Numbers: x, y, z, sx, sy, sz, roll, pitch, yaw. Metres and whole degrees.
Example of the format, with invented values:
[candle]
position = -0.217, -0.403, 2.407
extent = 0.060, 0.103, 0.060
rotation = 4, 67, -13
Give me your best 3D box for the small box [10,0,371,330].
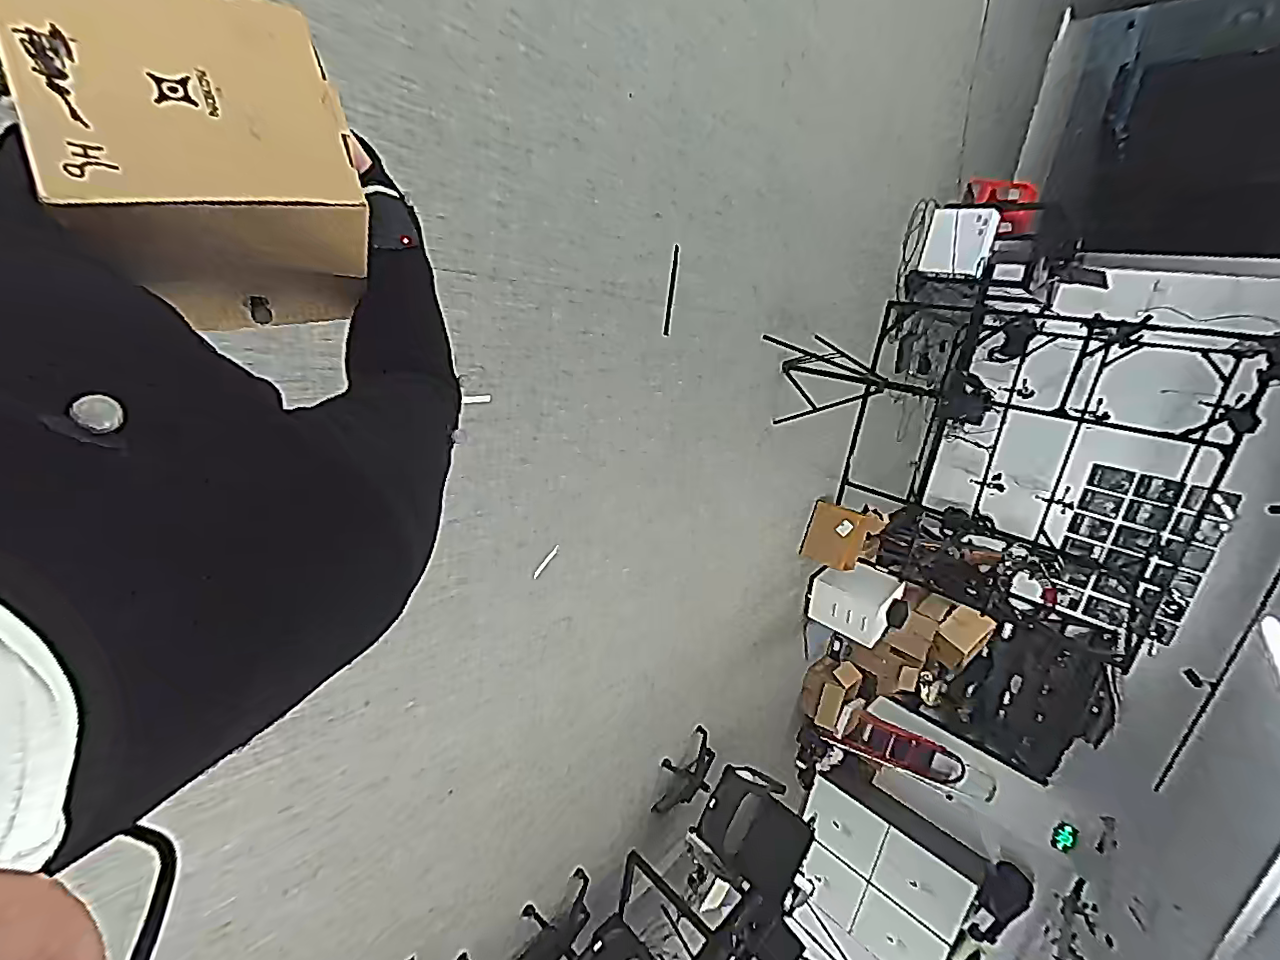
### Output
[small box]
position = -0.341, -0.241, 0.445
extent = 0.179, 0.176, 0.168
rotation = -16, 84, -31
